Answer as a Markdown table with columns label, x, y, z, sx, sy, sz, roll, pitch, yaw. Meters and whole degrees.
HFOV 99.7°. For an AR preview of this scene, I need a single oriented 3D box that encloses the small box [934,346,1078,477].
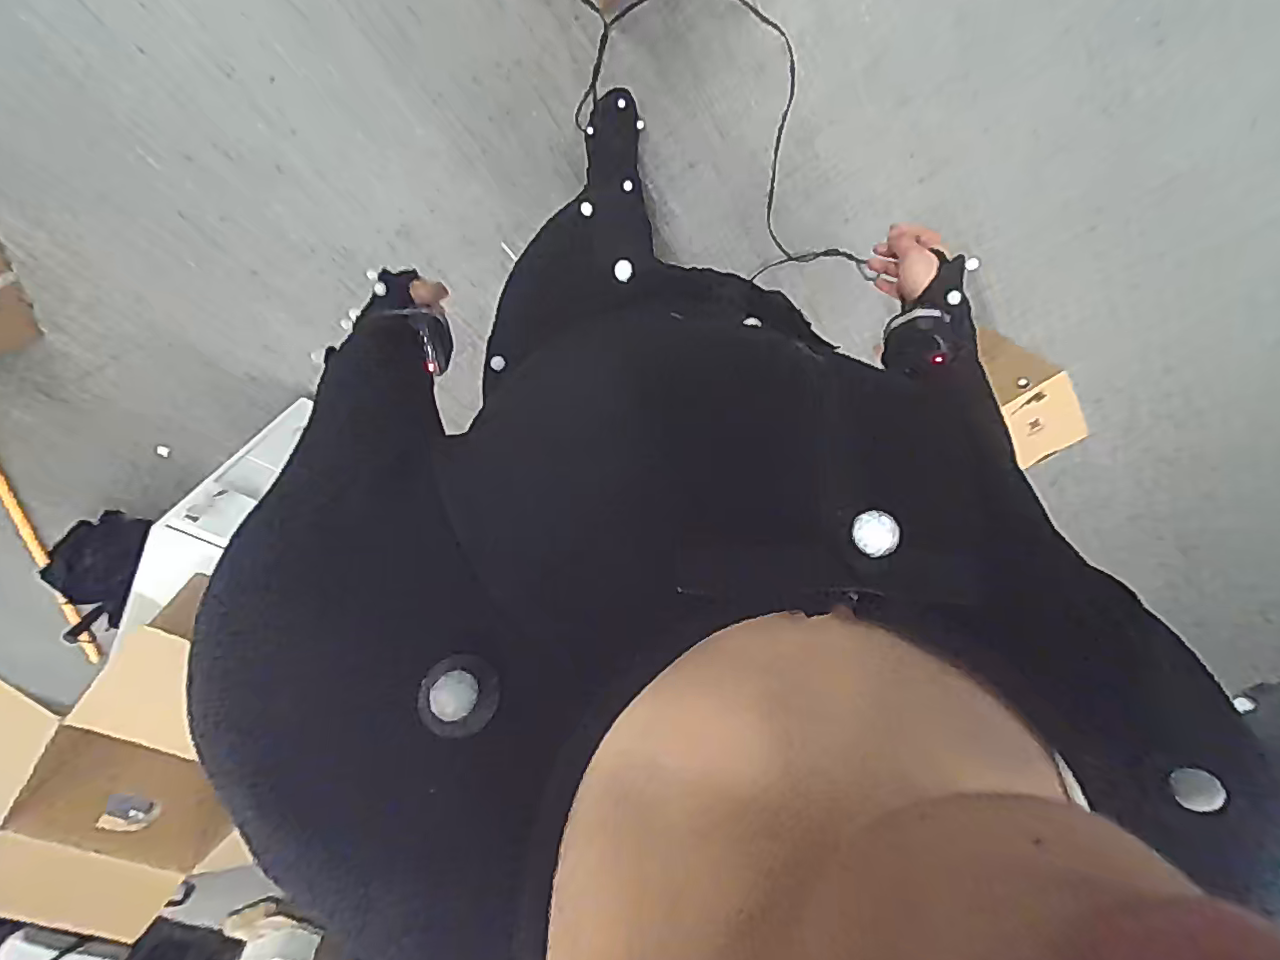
| label | x | y | z | sx | sy | sz | roll | pitch | yaw |
| --- | --- | --- | --- | --- | --- | --- | --- | --- | --- |
| small box | 0.750 | -0.146 | 1.119 | 0.168 | 0.176 | 0.179 | -34 | 119 | 17 |
